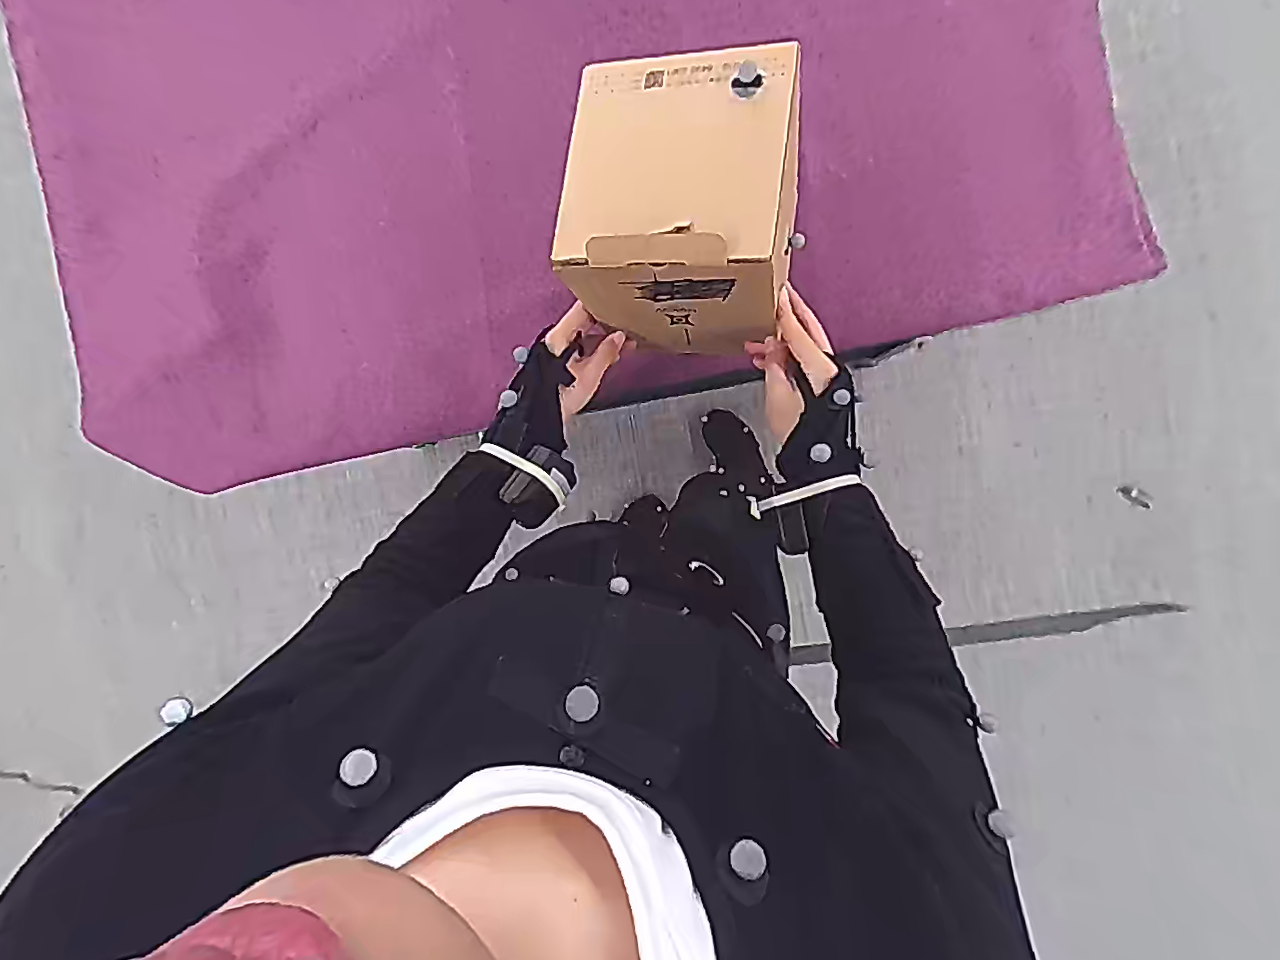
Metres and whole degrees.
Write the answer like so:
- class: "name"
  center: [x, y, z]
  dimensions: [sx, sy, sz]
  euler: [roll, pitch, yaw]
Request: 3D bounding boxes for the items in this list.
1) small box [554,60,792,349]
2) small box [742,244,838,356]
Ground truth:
- class: "small box"
  center: [0.040, -0.227, 0.475]
  dimensions: [0.168, 0.179, 0.176]
  euler: [6, 84, 16]
- class: "small box"
  center: [0.295, -0.366, 1.136]
  dimensions: [0.179, 0.176, 0.168]
  euler: [-11, 93, 5]
